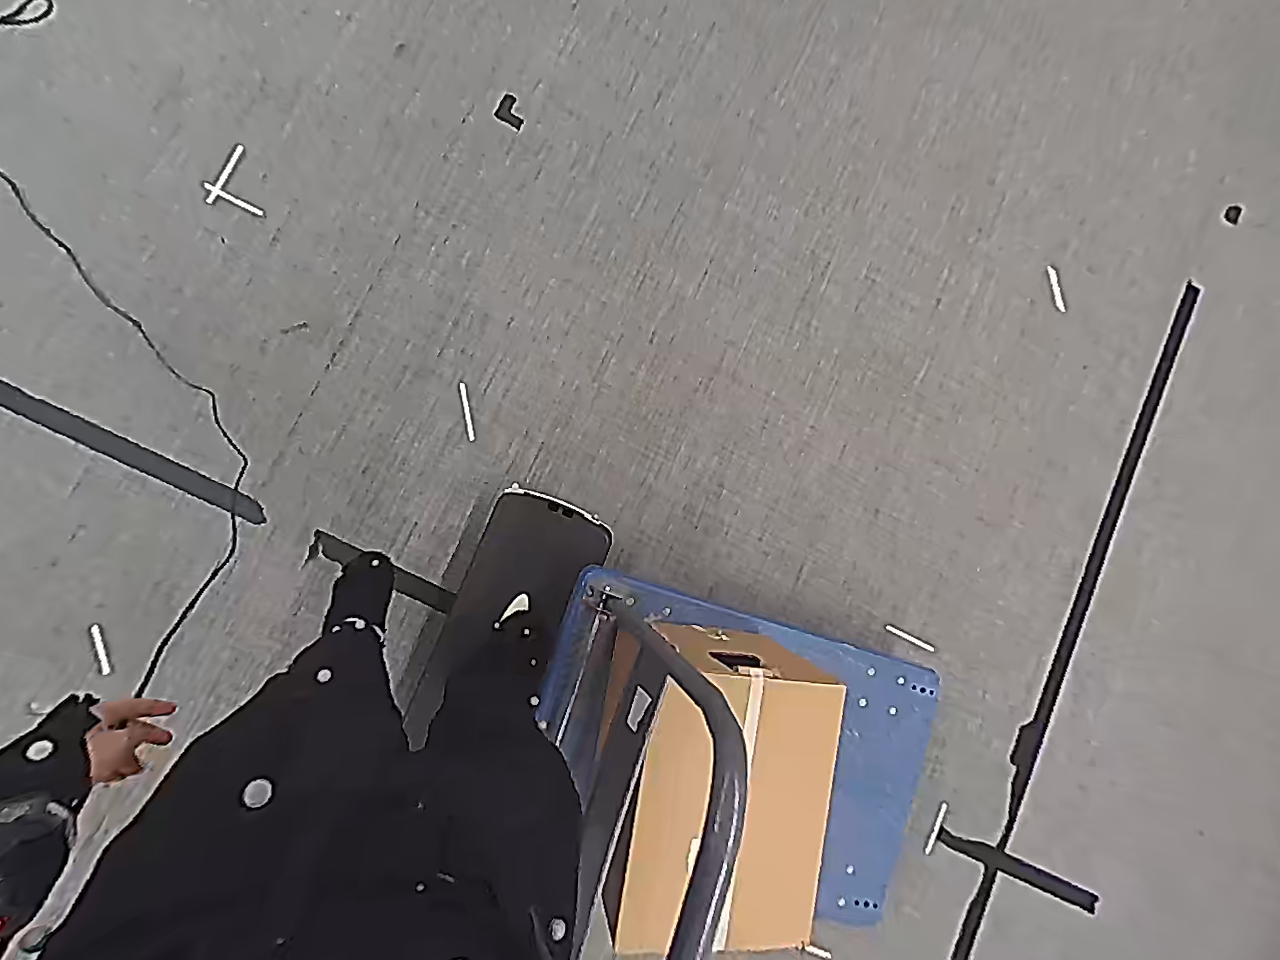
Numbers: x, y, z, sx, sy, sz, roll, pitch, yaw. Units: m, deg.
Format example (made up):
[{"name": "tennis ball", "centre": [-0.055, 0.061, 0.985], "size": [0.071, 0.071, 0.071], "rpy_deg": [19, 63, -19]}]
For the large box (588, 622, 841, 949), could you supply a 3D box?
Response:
[{"name": "large box", "centre": [0.108, 0.494, 0.953], "size": [0.320, 0.320, 0.408], "rpy_deg": [10, 87, -13]}]
